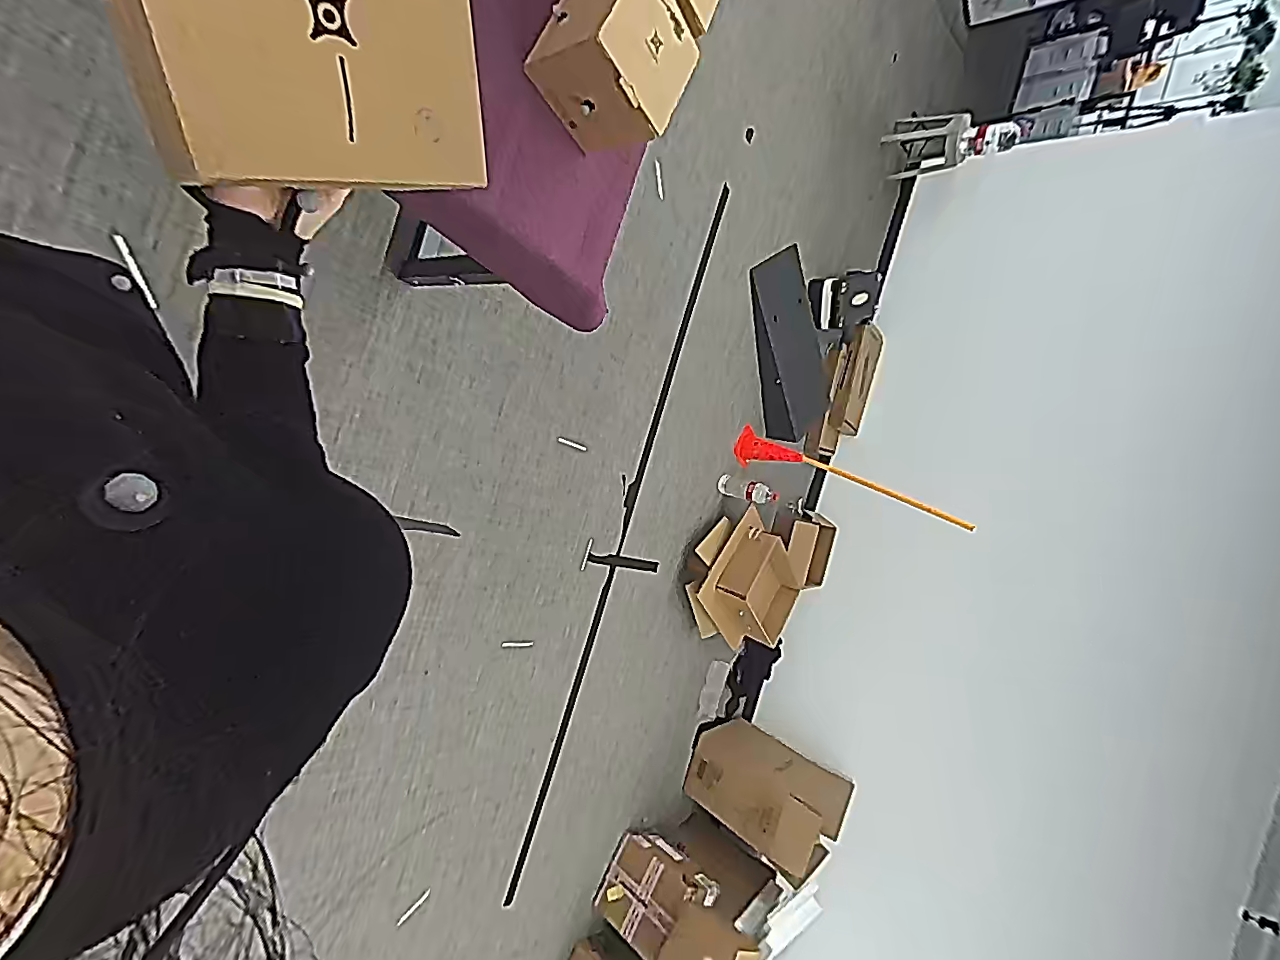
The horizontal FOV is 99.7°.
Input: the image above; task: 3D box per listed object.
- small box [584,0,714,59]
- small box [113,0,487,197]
[{"bbox_3d":[0.017,-0.835,0.867,0.168,0.176,0.179,26,82,-52],"label":"small box"},{"bbox_3d":[-0.222,-0.285,0.349,0.168,0.176,0.179,-22,125,-37],"label":"small box"}]
